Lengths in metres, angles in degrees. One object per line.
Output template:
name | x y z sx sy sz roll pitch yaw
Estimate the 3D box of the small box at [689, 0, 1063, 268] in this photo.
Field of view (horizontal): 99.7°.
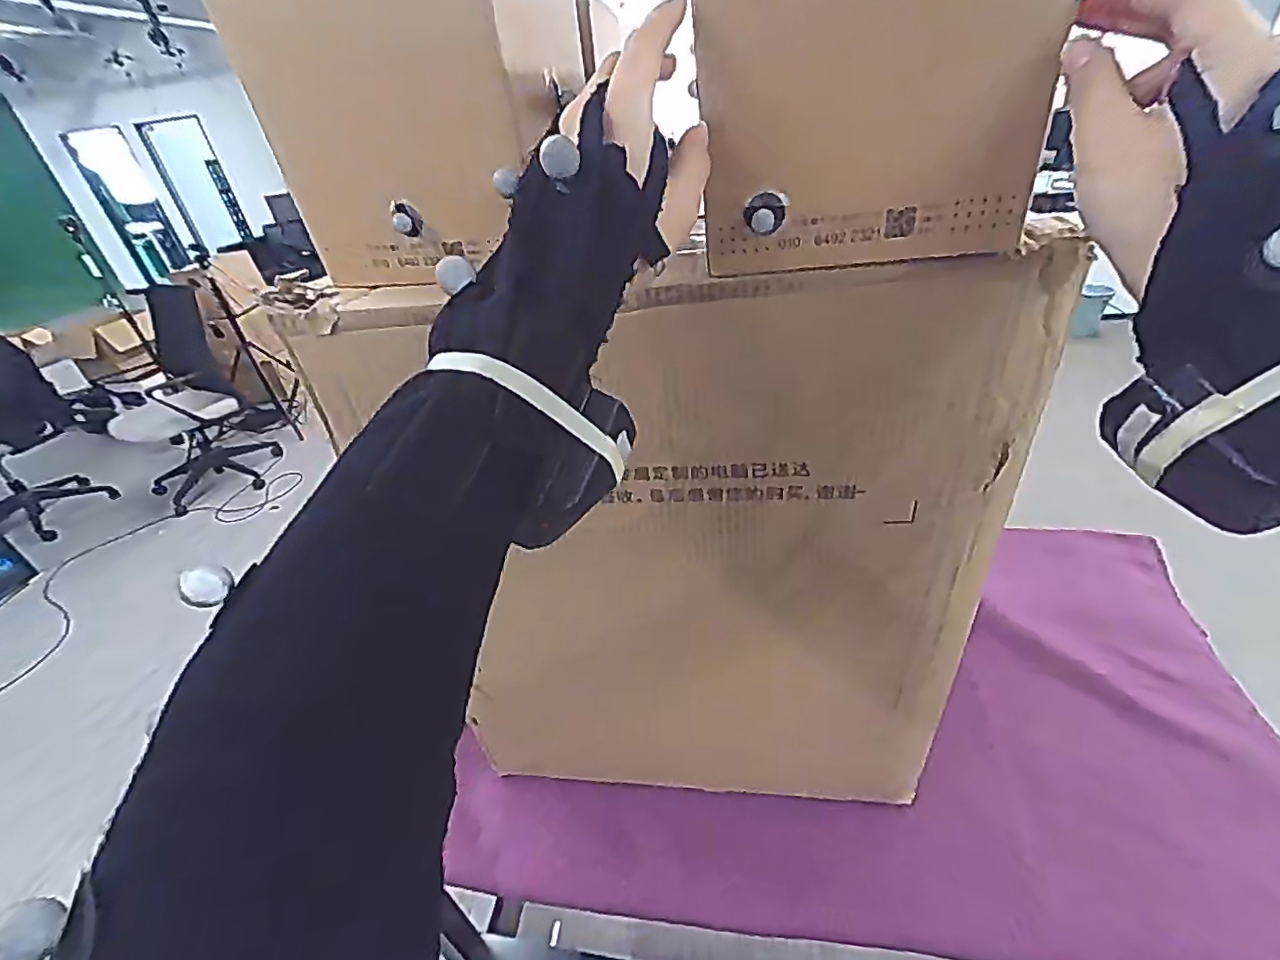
small box | 0.126 -0.233 0.326 0.168 0.176 0.179 0 34 13
